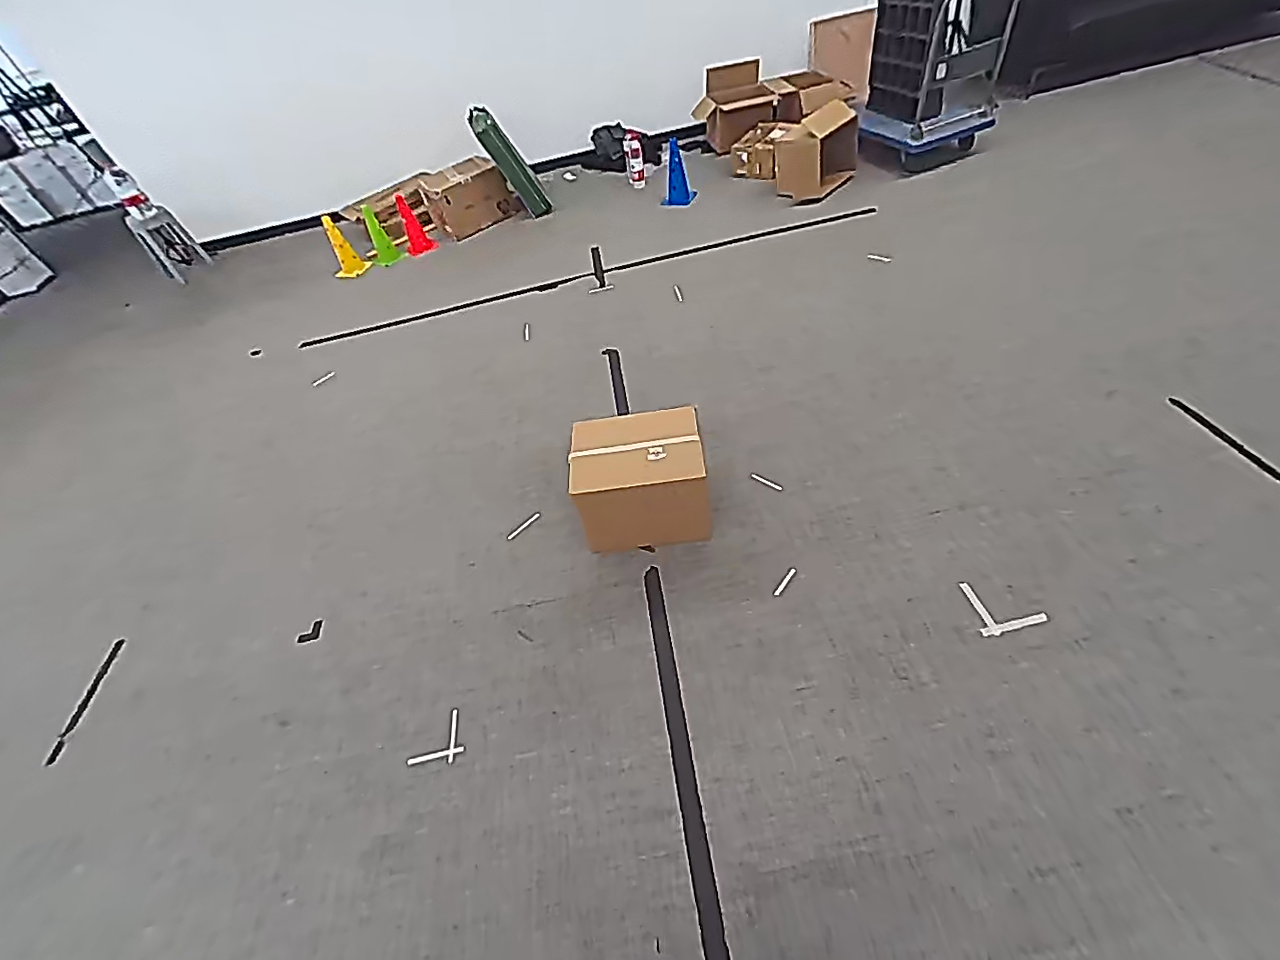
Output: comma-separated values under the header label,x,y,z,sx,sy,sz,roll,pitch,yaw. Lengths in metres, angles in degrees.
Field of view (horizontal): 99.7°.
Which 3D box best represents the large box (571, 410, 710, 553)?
label,x,y,z,sx,sy,sz,roll,pitch,yaw
large box,0.007,0.010,1.764,0.408,0.320,0.320,-7,48,5
